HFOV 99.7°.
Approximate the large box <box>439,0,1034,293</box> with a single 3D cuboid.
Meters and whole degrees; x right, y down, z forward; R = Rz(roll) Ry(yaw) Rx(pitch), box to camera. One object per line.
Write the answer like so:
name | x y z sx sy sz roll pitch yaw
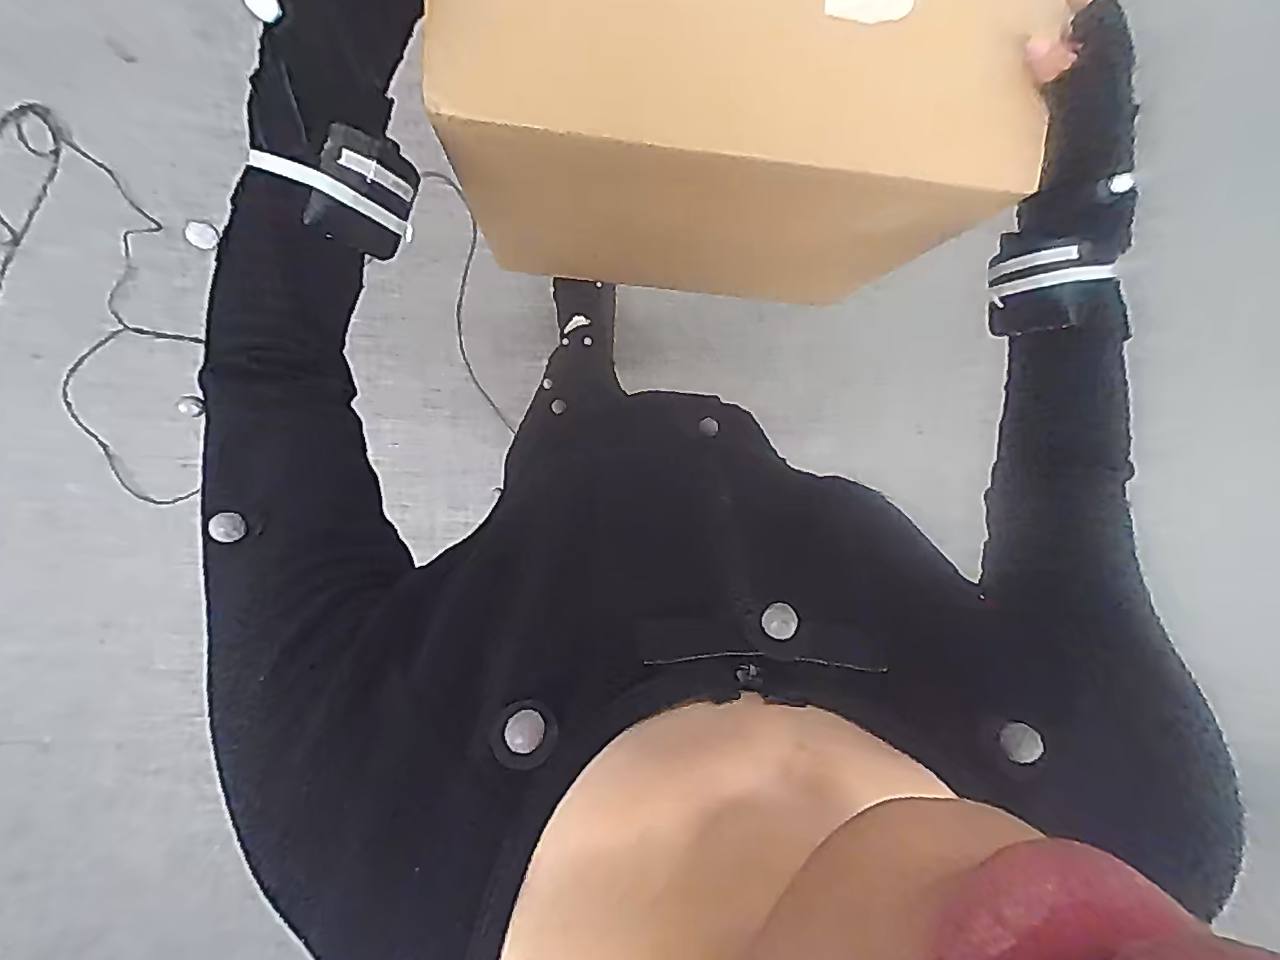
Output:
large box | 0.059 -0.384 0.498 0.408 0.320 0.320 4 94 -7
